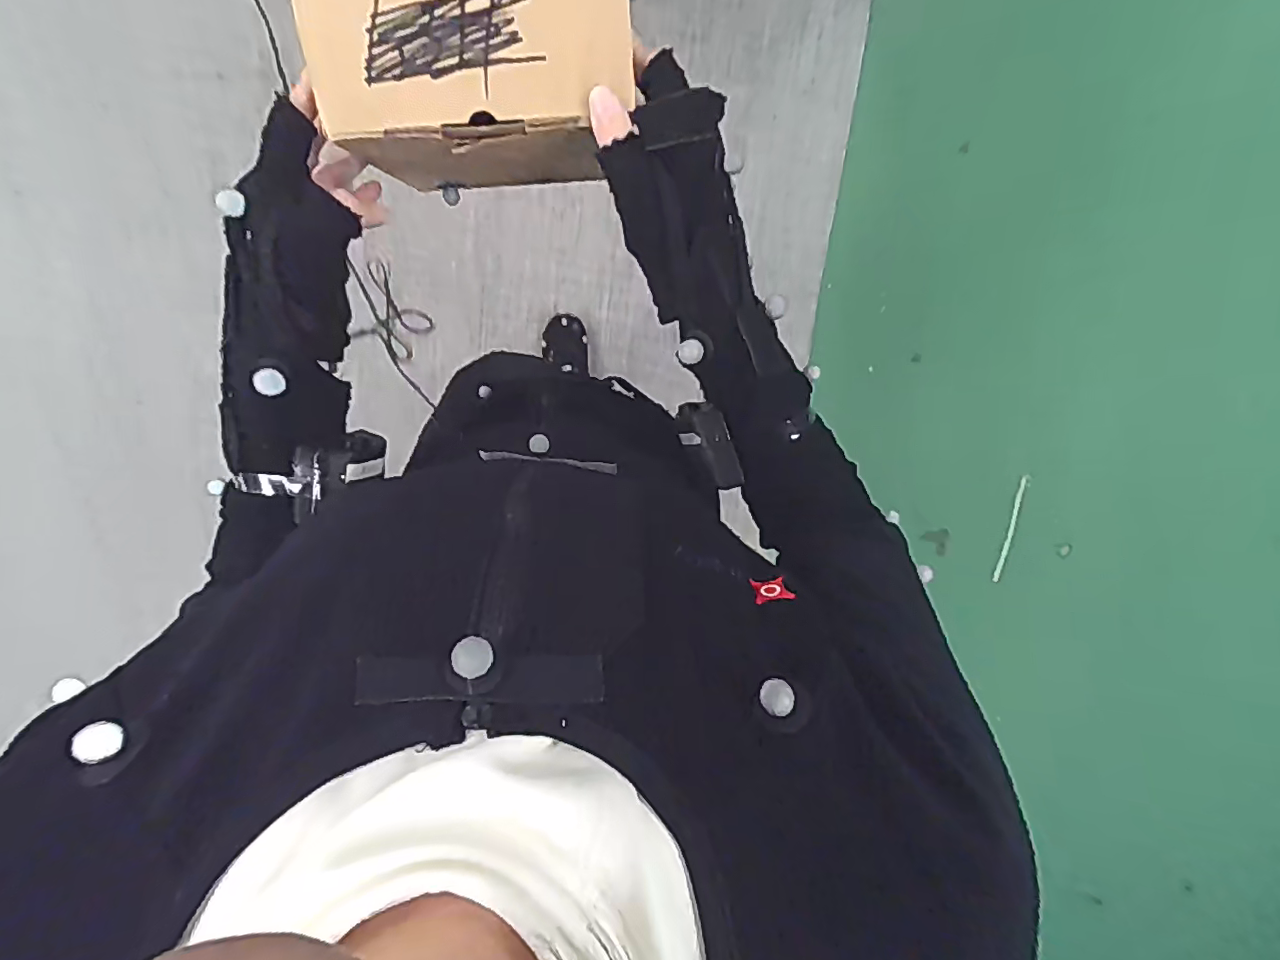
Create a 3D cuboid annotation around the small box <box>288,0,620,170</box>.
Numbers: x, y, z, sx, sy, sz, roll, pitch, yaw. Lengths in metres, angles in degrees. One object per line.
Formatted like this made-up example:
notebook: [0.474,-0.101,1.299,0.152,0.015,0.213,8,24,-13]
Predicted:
small box: [-0.100,-0.304,0.333,0.168,0.176,0.179,-5,109,-3]
